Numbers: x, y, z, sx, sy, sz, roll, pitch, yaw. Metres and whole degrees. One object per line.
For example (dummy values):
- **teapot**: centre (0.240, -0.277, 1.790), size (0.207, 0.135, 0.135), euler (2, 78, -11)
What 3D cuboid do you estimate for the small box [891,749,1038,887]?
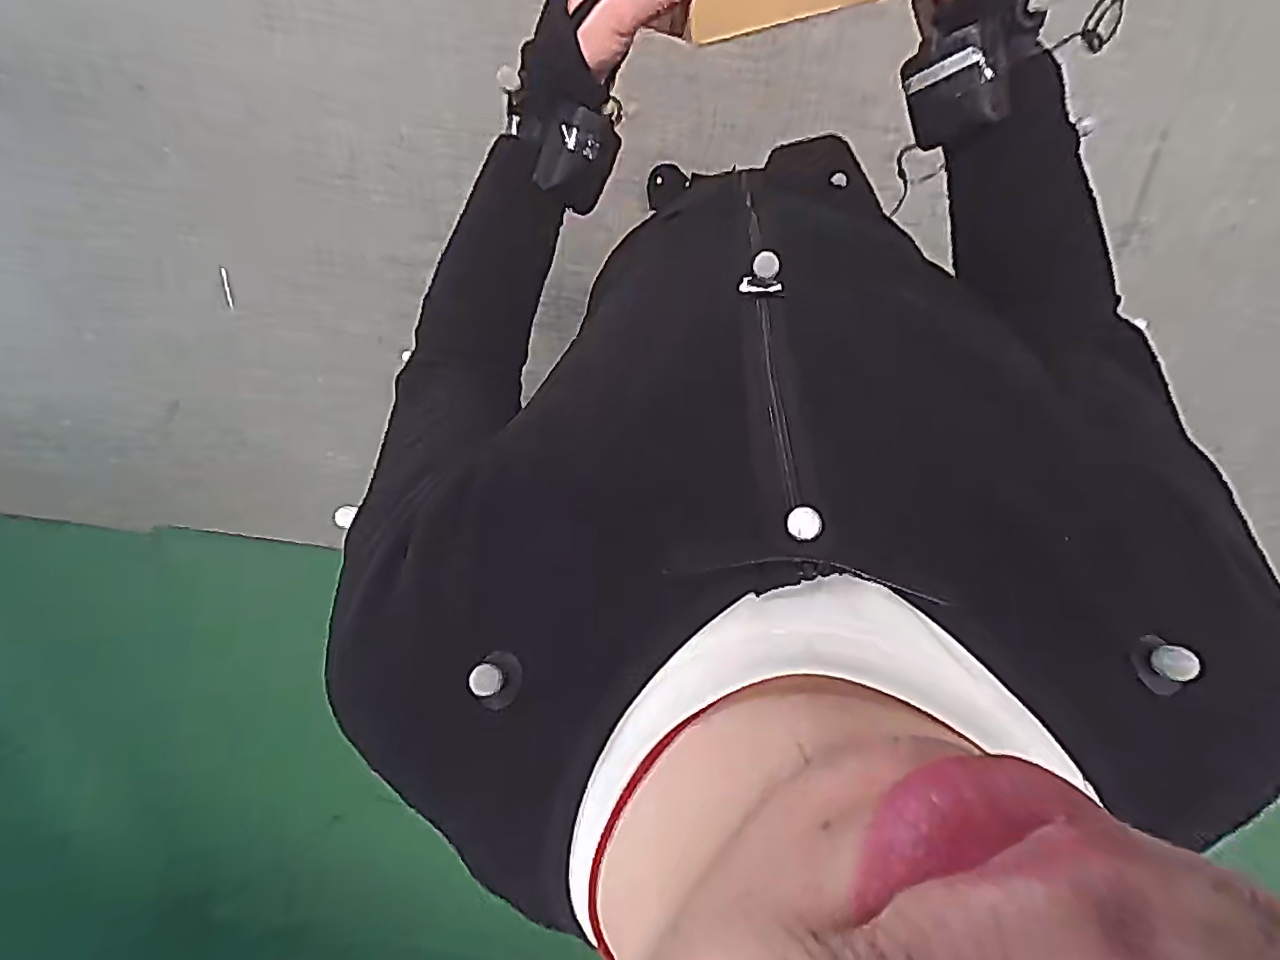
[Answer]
- **small box**: centre (0.638, 0.677, 1.093), size (0.168, 0.176, 0.179), euler (10, 119, -2)

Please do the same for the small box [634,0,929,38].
- **small box**: centre (0.082, -0.403, 0.337), size (0.168, 0.176, 0.179), euler (-15, 135, -6)
